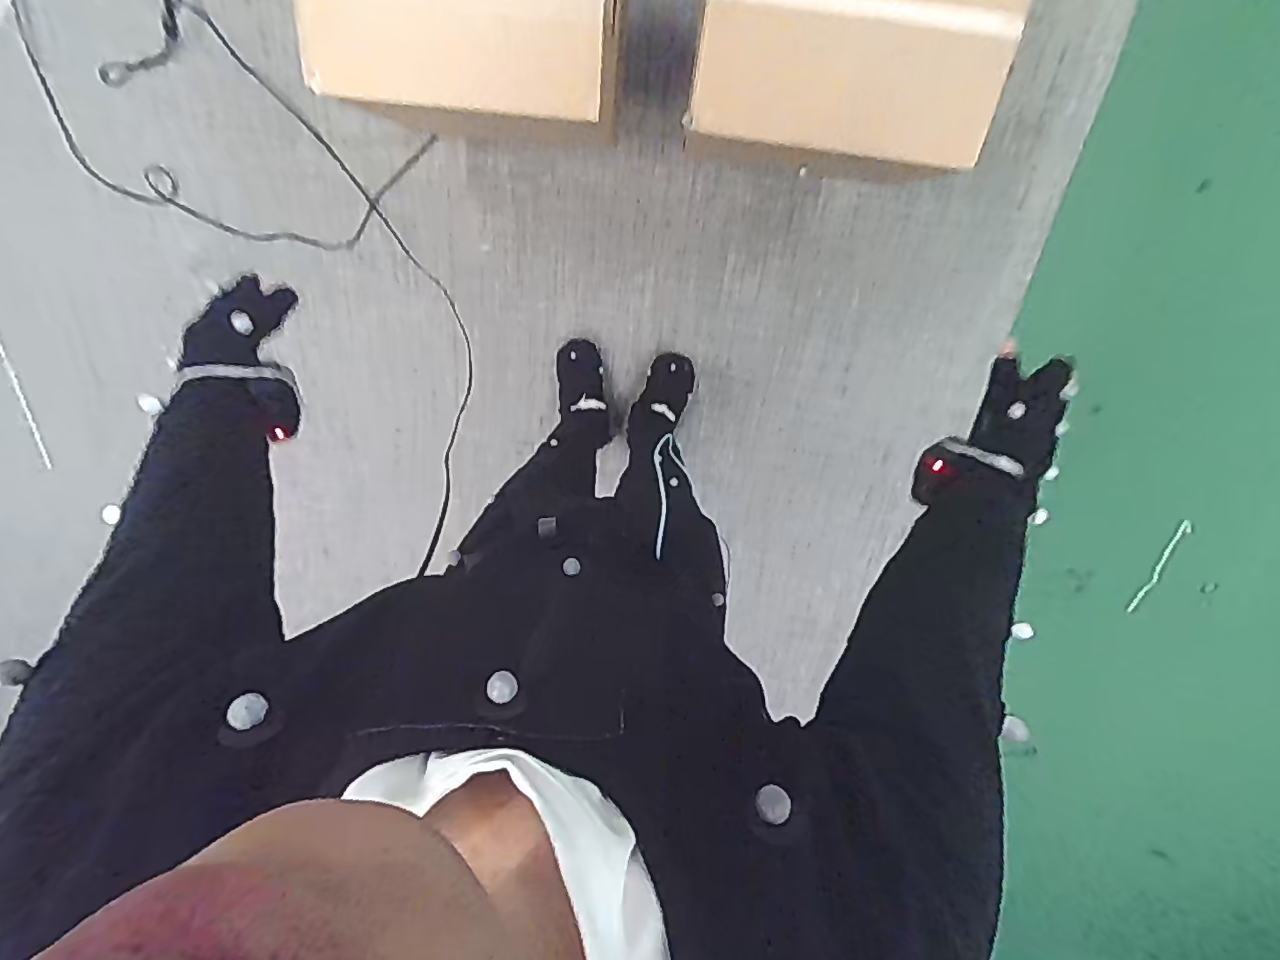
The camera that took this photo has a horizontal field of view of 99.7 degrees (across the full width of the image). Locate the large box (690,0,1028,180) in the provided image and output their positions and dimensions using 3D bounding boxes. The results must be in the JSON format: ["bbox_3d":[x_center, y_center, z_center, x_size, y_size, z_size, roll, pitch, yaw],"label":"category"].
[{"bbox_3d":[0.302,-0.667,0.836,0.408,0.320,0.320,8,115,0],"label":"large box"}]
